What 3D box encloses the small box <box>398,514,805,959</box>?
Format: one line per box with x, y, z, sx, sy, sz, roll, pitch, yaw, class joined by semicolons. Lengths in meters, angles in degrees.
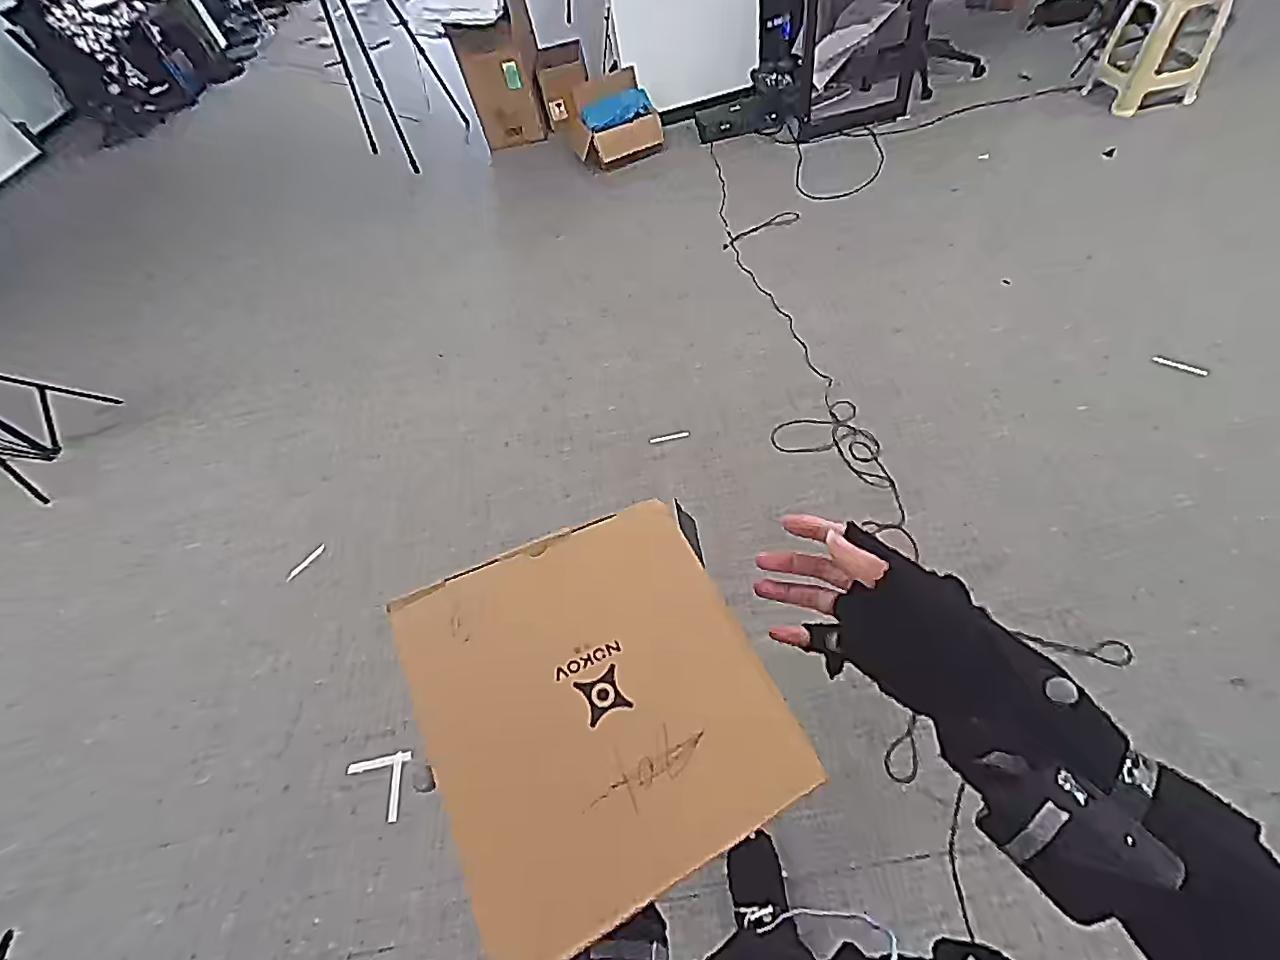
-0.035;0.156;0.350;0.168;0.176;0.179;-20;62;-20;small box
